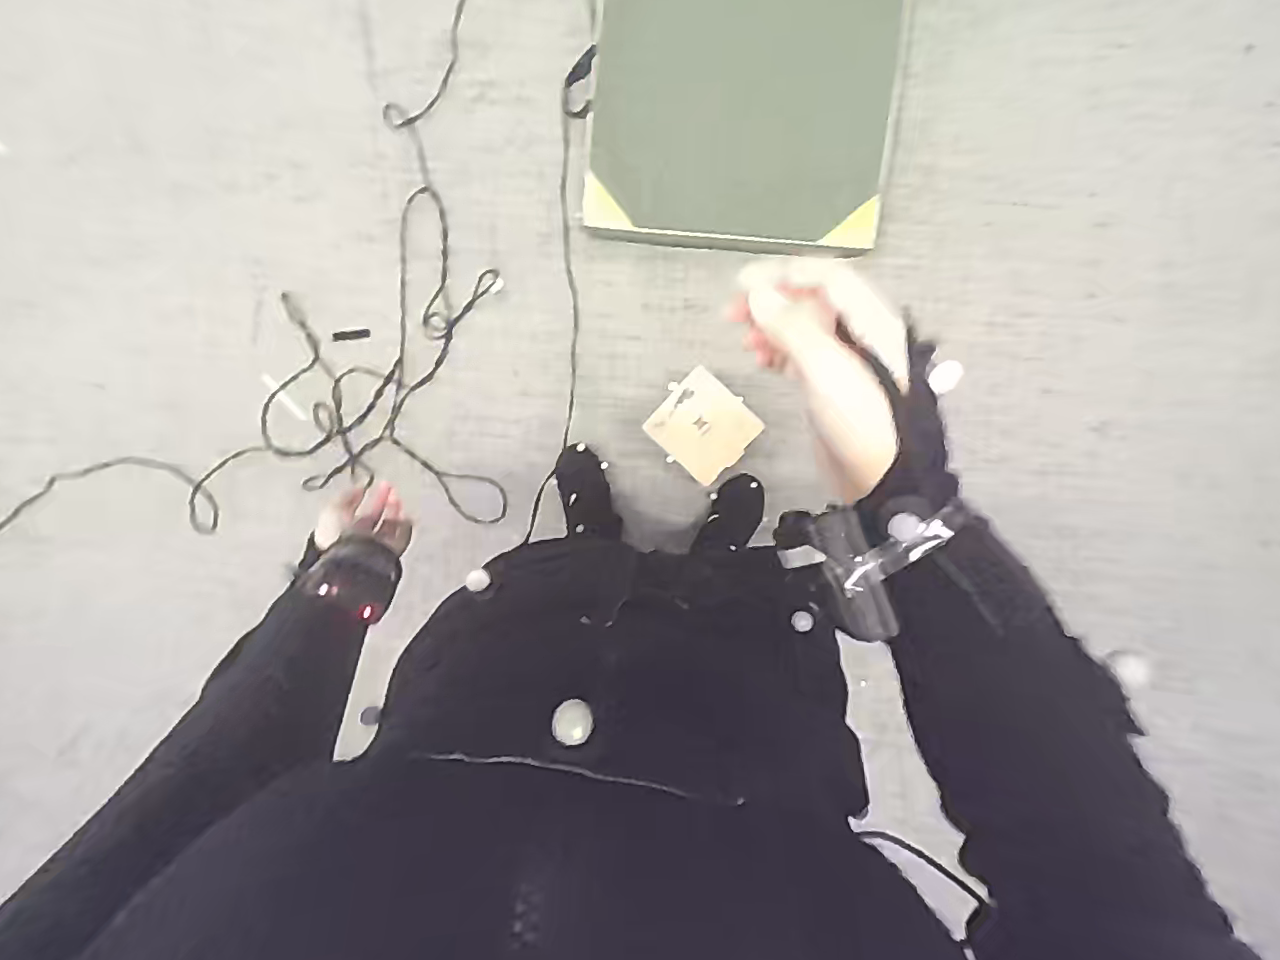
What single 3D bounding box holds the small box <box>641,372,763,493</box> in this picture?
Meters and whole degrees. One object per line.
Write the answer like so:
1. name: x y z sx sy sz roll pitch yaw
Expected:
1. small box: 0.123 -0.098 1.110 0.179 0.176 0.168 43 95 -1
